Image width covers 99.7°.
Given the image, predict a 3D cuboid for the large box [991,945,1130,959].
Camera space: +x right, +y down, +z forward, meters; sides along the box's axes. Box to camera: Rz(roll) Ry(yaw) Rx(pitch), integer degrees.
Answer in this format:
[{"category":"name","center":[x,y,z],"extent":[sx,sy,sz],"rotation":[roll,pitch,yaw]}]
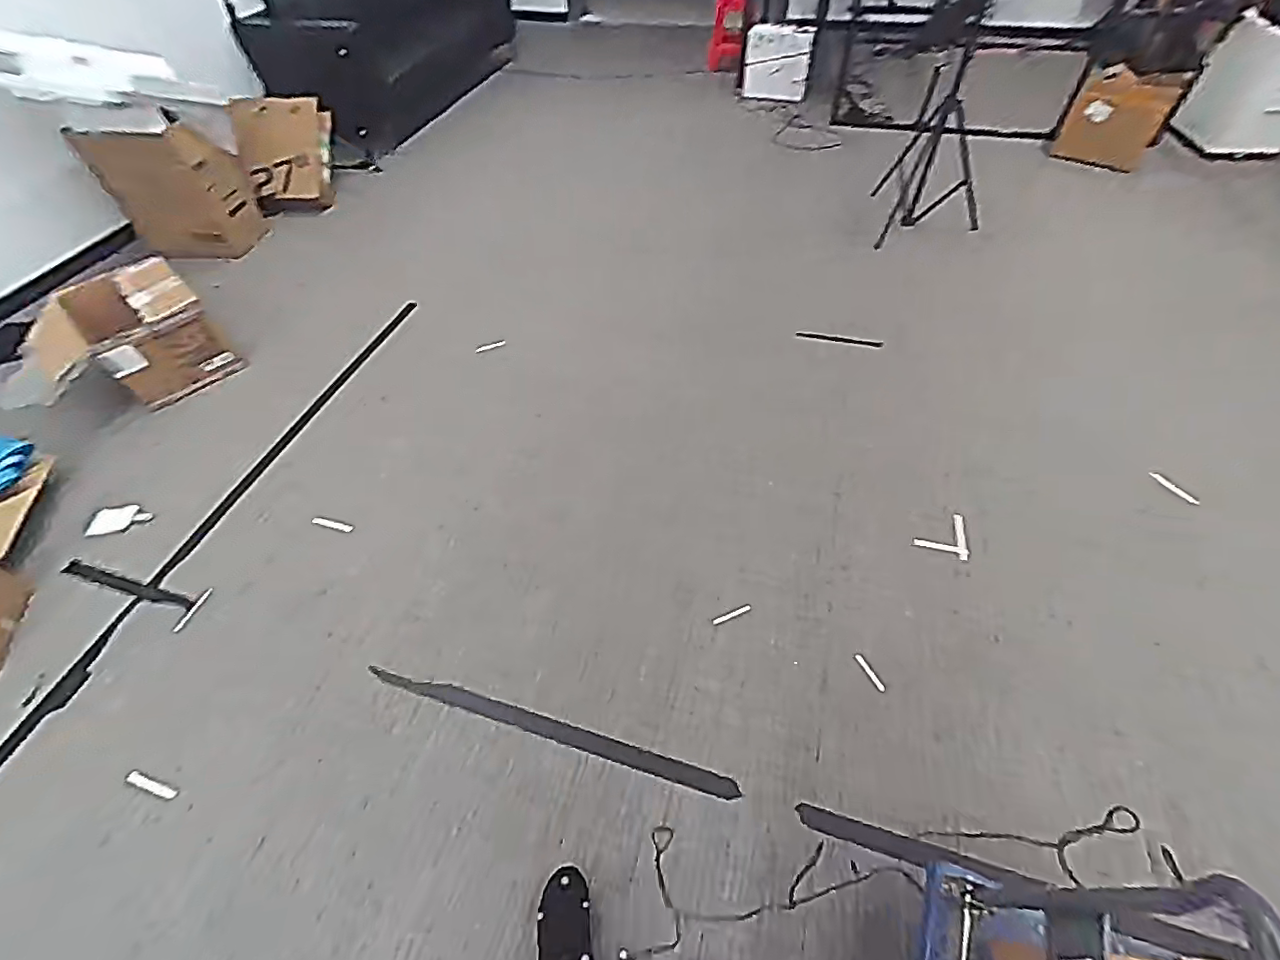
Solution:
[{"category":"large box","center":[0.760,0.923,0.739],"extent":[0.320,0.320,0.408],"rotation":[4,52,7]}]
